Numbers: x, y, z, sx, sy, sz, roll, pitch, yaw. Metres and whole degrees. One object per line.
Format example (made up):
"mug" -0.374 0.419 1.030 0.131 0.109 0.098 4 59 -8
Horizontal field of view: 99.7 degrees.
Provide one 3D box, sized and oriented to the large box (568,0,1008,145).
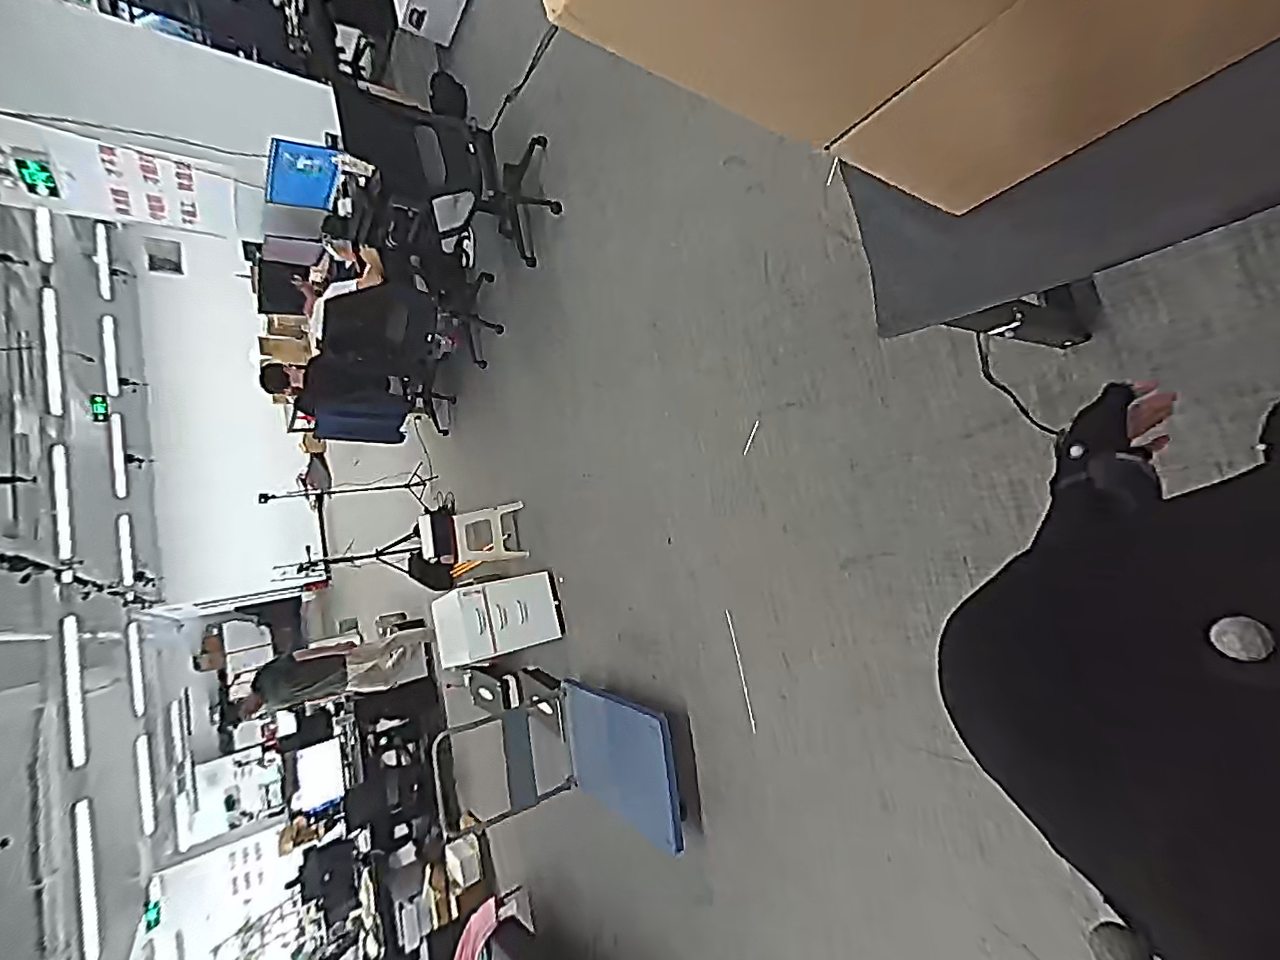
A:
"large box" 0.160 -0.513 0.326 0.408 0.320 0.320 -18 82 50
